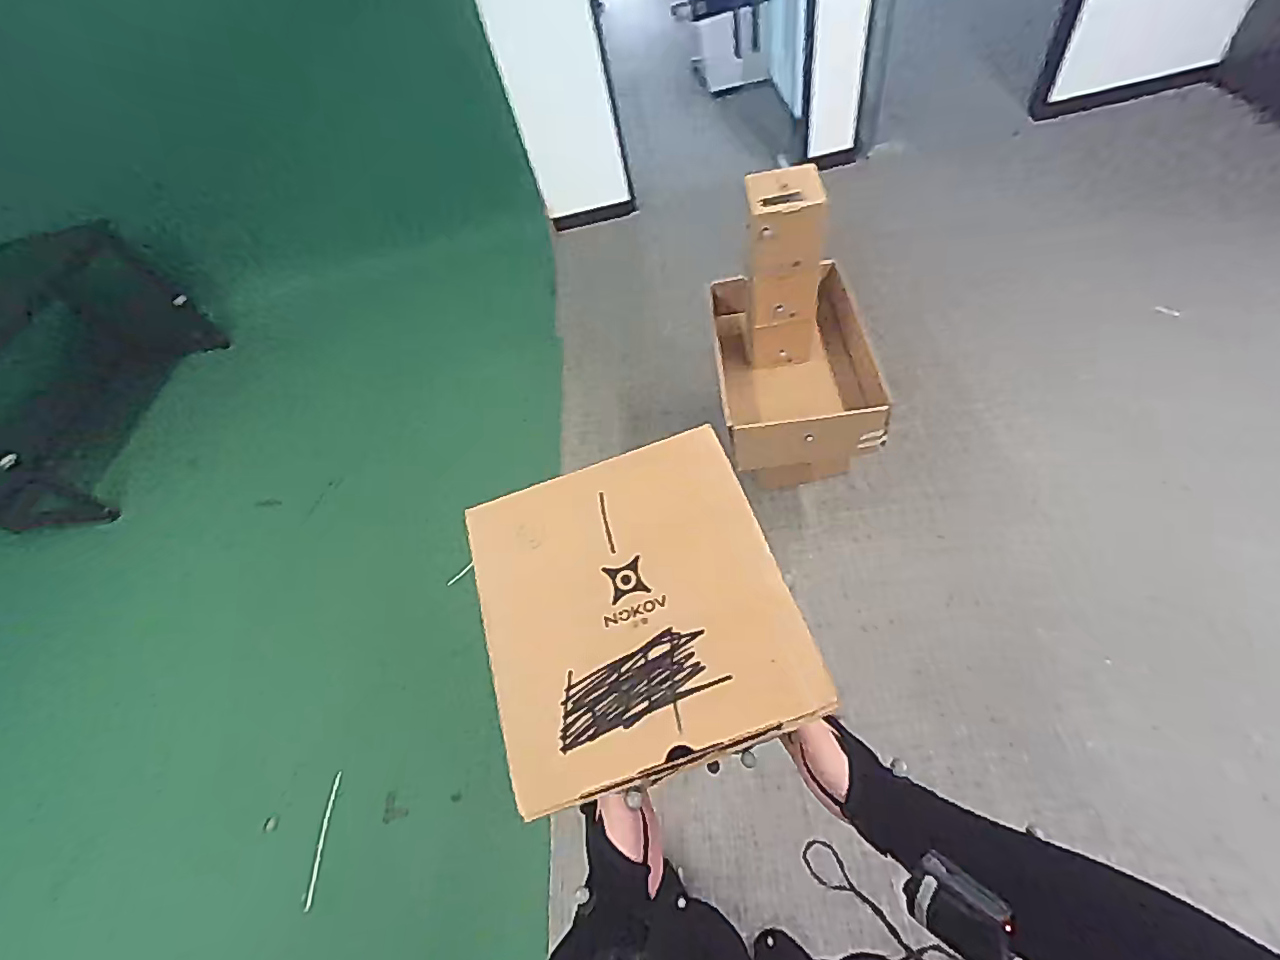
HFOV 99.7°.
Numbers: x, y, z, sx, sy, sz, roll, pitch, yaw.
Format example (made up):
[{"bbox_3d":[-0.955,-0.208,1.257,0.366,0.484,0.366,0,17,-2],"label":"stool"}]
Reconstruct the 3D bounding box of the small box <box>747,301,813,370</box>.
[{"bbox_3d":[0.408,-0.453,1.597,0.168,0.176,0.179,-7,56,9],"label":"small box"}]

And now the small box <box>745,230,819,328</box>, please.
[{"bbox_3d":[0.377,-0.540,1.463,0.168,0.176,0.179,-7,56,7],"label":"small box"}]

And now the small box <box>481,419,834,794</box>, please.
[{"bbox_3d":[0.011,0.093,0.375,0.168,0.176,0.179,-19,61,0],"label":"small box"}]
